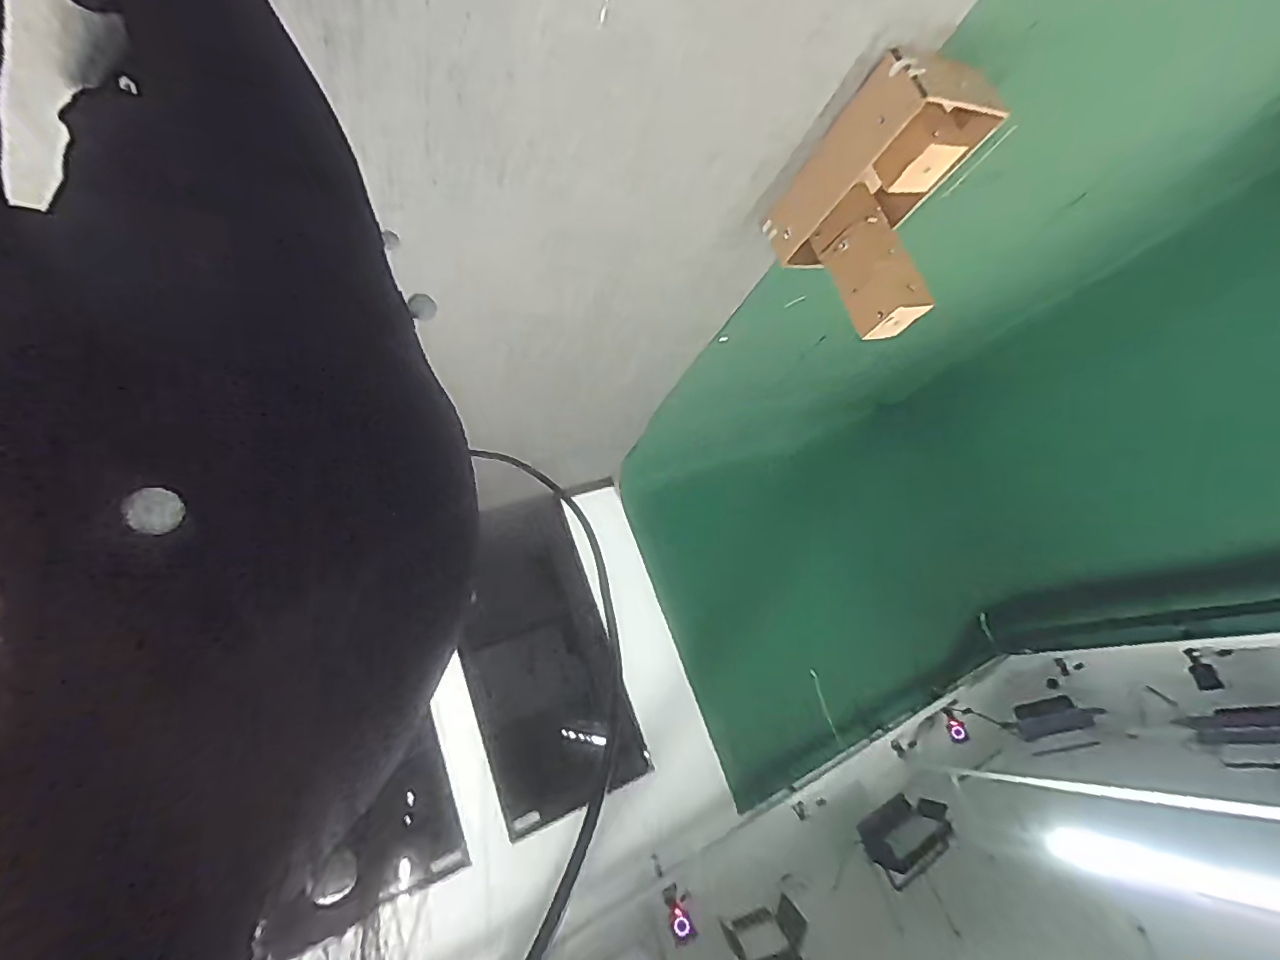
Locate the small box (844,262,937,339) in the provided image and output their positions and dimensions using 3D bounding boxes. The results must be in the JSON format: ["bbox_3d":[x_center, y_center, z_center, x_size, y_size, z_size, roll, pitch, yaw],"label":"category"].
[{"bbox_3d":[0.795,-0.576,1.729,0.179,0.176,0.168,-14,163,-26],"label":"small box"}]

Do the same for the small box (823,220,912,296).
[{"bbox_3d":[0.740,-0.724,1.772,0.179,0.176,0.168,-11,162,-29],"label":"small box"}]

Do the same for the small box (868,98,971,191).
[{"bbox_3d":[0.815,-0.983,1.588,0.179,0.176,0.168,-14,165,-23],"label":"small box"}]
